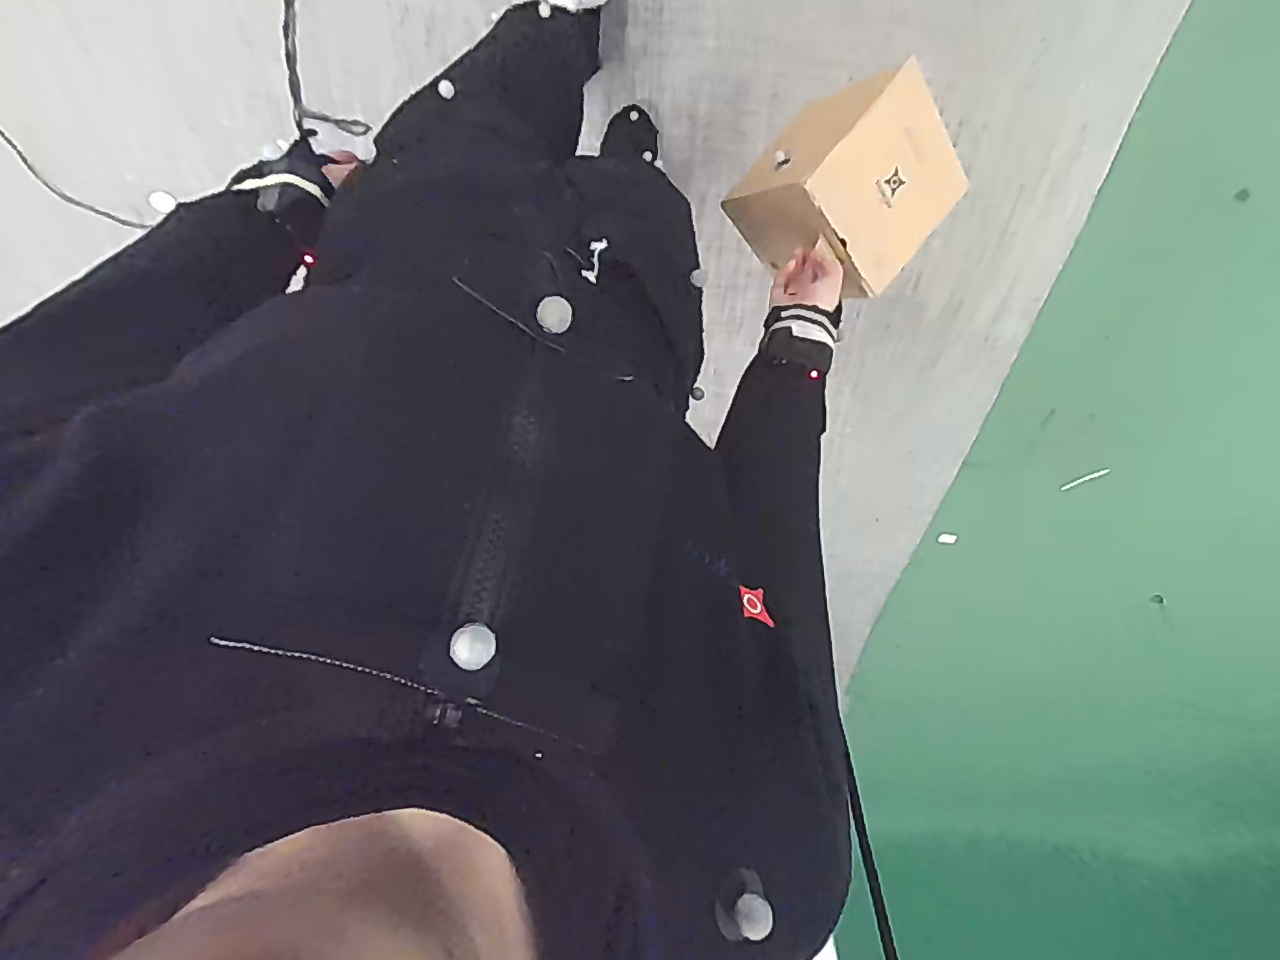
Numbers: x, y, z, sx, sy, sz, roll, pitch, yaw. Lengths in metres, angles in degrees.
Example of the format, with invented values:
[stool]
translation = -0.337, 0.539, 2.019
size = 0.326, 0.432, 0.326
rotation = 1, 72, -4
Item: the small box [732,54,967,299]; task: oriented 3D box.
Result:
[small box]
translation = 0.234, -0.338, 0.643
size = 0.168, 0.176, 0.179
rotation = 40, 88, -32
